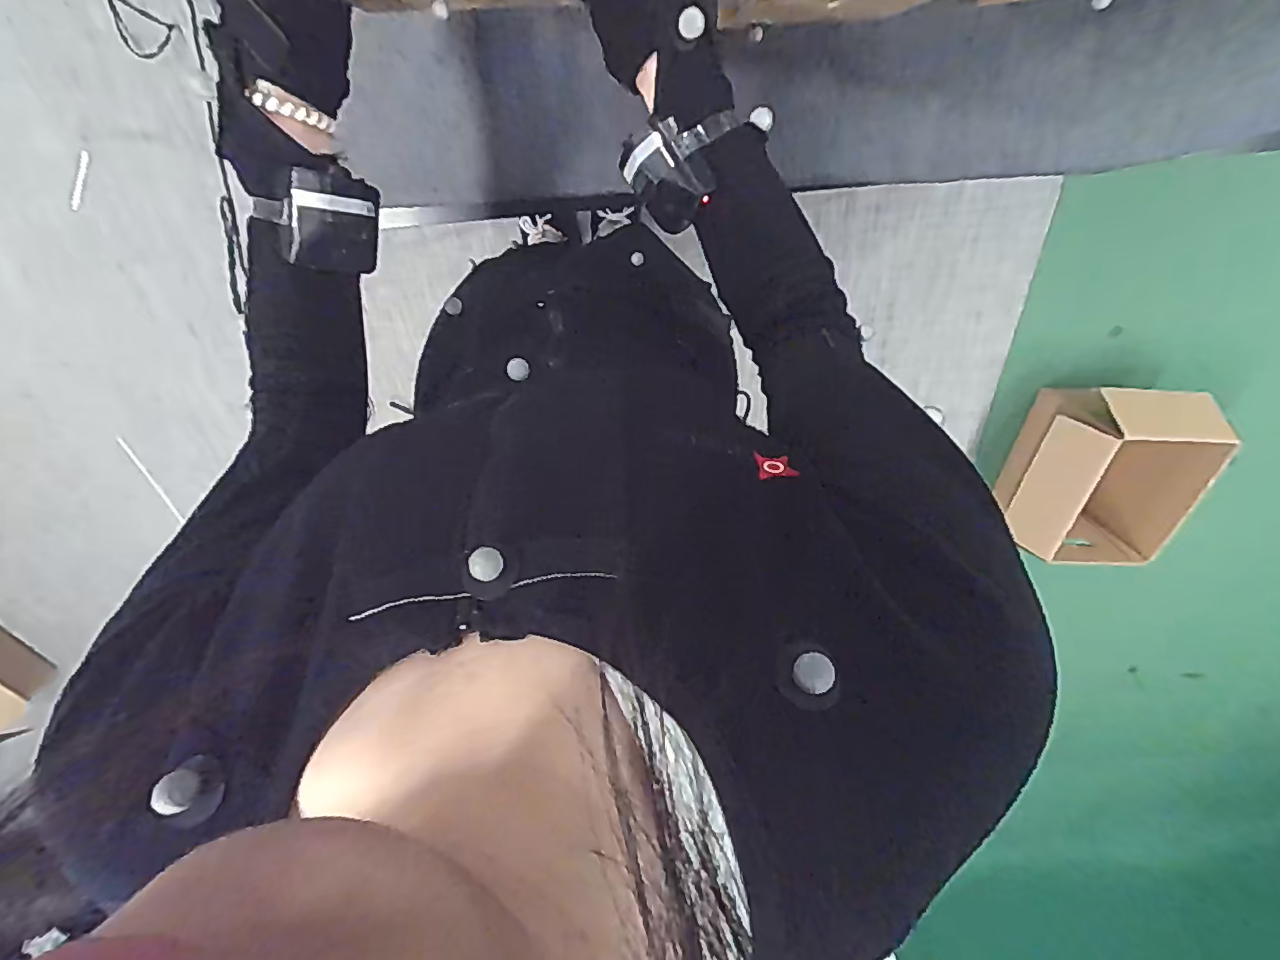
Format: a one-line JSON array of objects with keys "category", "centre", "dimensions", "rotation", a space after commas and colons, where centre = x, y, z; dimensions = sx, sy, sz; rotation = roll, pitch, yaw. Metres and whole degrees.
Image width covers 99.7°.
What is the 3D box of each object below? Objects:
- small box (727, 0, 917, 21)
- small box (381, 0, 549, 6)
[{"category": "small box", "centre": [0.156, -0.462, 0.399], "dimensions": [0.168, 0.176, 0.179], "rotation": [-4, 123, 0]}, {"category": "small box", "centre": [-0.119, -0.382, 0.290], "dimensions": [0.168, 0.176, 0.179], "rotation": [-5, 127, -3]}]
